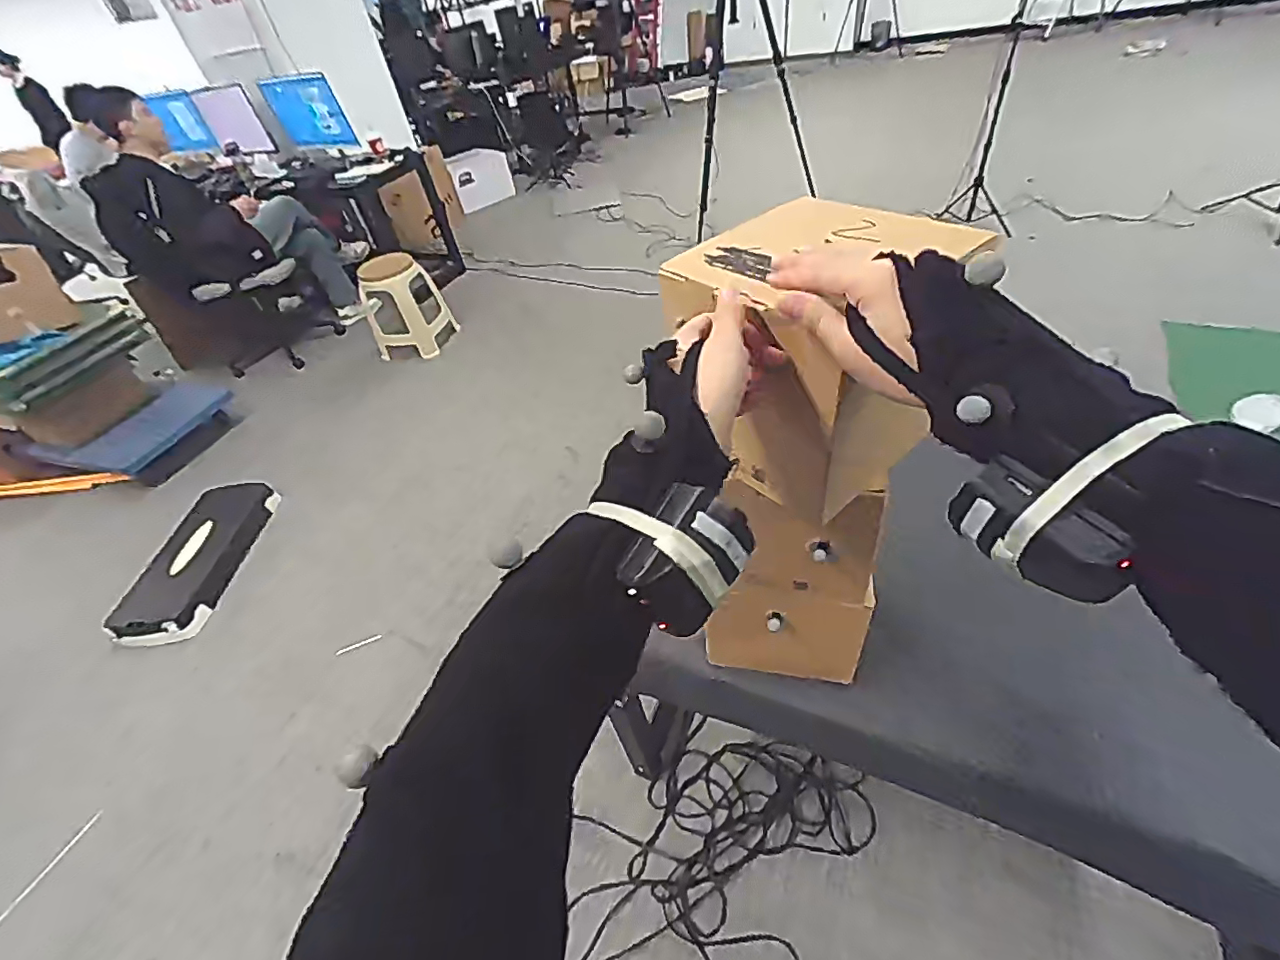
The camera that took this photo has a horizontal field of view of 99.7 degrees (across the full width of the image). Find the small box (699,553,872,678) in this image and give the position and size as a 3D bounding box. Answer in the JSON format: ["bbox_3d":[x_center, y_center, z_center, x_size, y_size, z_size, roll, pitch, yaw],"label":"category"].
[{"bbox_3d":[0.177,0.124,0.667,0.179,0.176,0.168,4,45,16],"label":"small box"}]

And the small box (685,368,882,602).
[{"bbox_3d":[0.150,0.003,0.561,0.168,0.176,0.179,6,44,16],"label":"small box"}]
